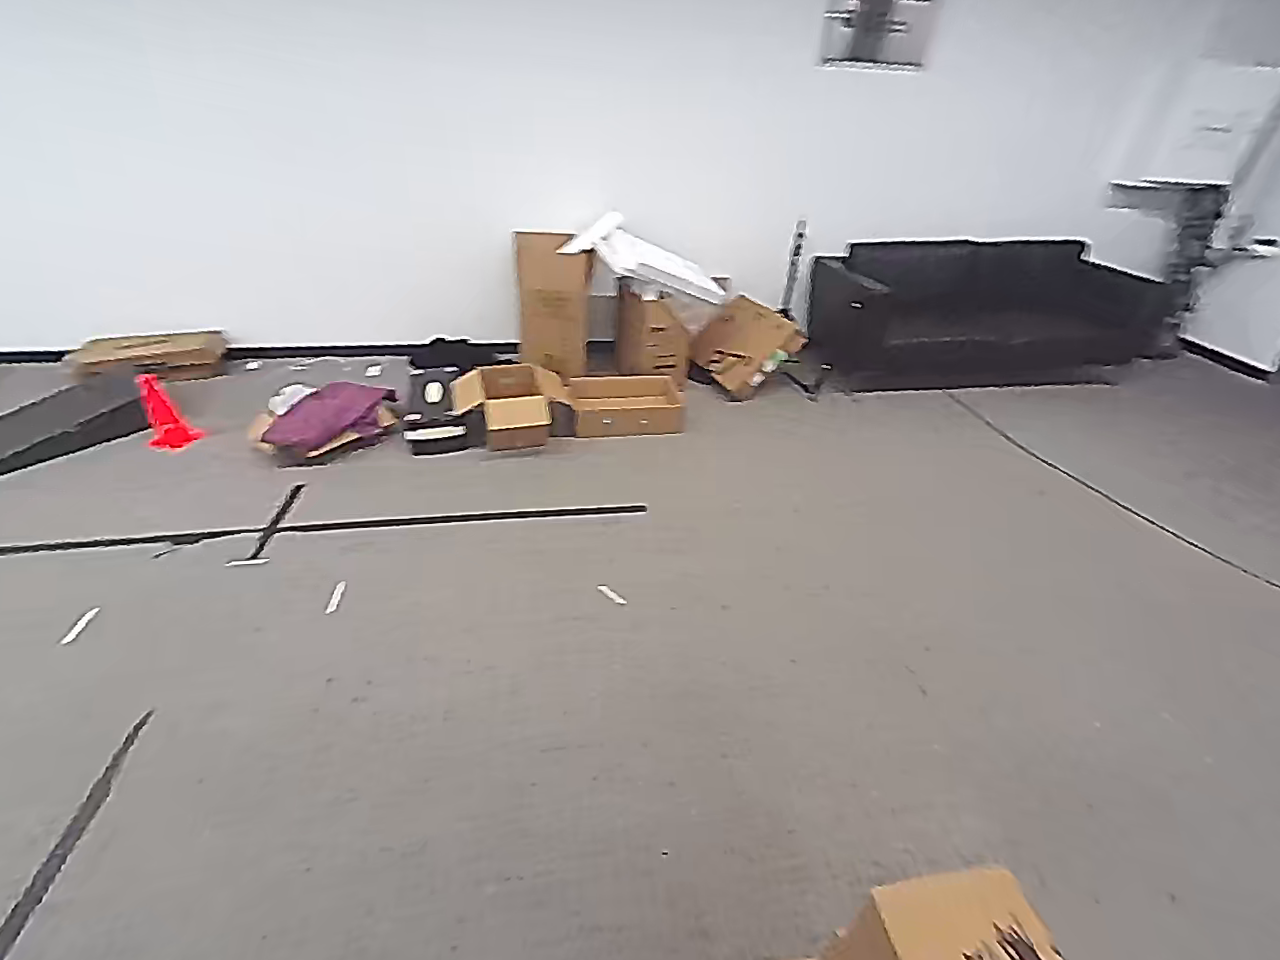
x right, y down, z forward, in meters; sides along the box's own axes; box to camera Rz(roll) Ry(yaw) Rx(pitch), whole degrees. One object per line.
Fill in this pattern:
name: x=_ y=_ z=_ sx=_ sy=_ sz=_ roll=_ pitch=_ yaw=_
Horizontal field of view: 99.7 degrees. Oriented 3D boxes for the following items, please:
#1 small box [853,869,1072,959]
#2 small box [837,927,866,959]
small box: x=0.366 y=0.573 z=0.602 sx=0.179 sy=0.176 sz=0.168 roll=-6 pitch=34 yaw=-6
small box: x=0.369 y=0.701 z=0.706 sx=0.179 sy=0.176 sz=0.168 roll=-7 pitch=34 yaw=-9
